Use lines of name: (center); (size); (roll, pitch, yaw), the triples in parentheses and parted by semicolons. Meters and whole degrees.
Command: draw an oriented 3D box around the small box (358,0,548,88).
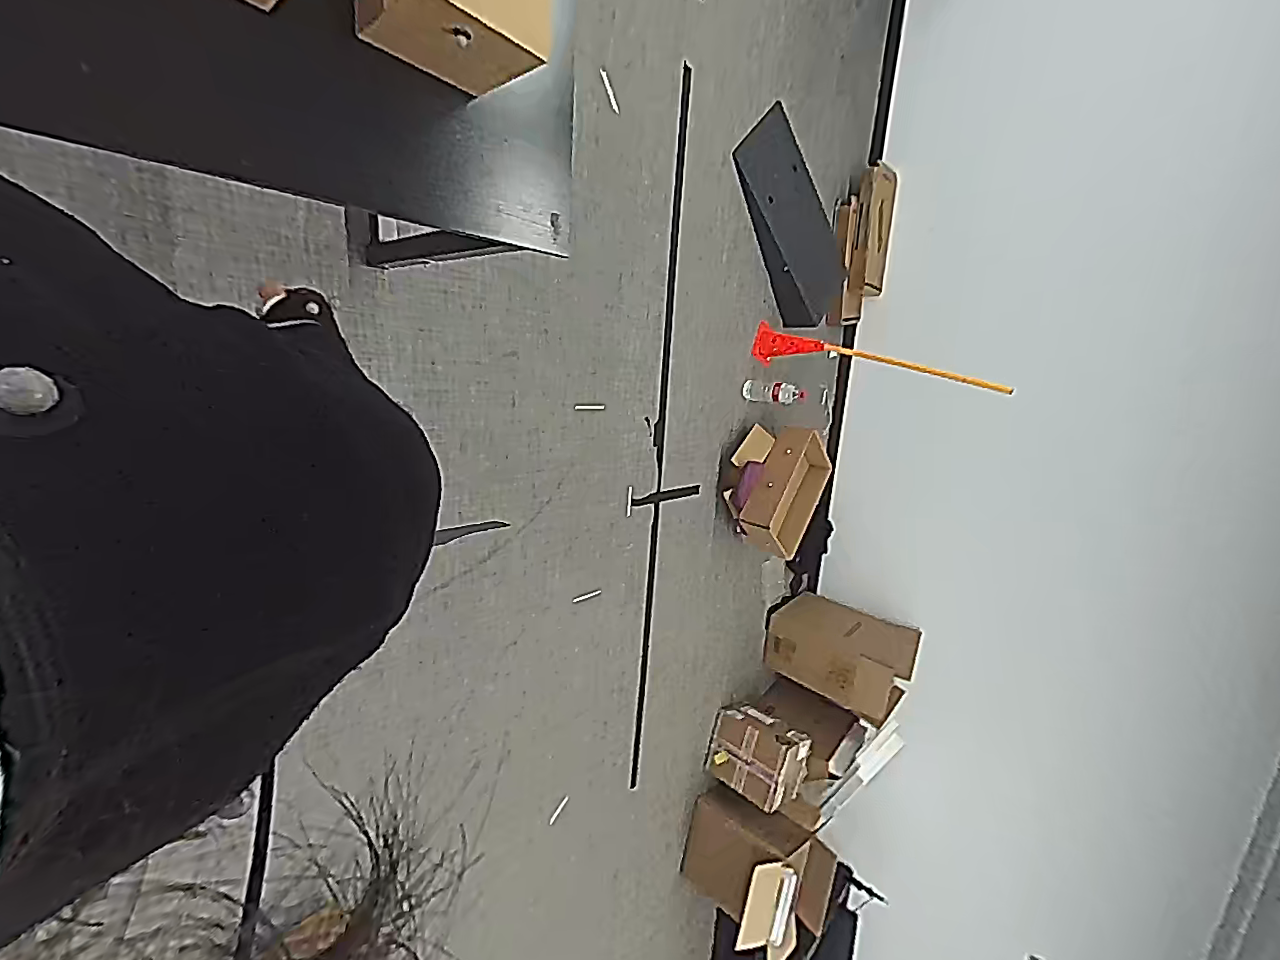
small box: (-0.234, -0.631, 0.676); (0.179, 0.176, 0.168); (-8, 107, -49)
